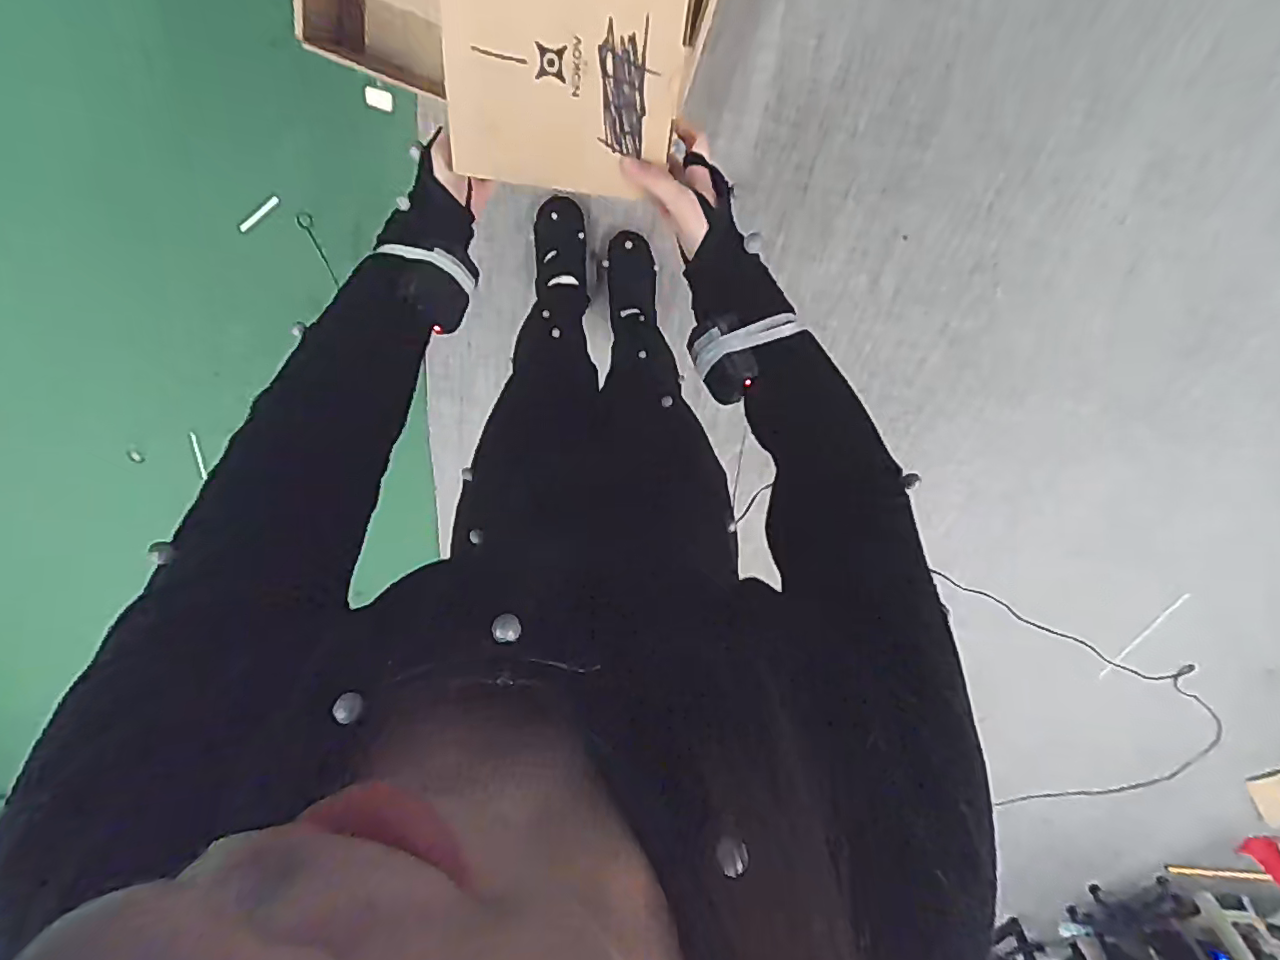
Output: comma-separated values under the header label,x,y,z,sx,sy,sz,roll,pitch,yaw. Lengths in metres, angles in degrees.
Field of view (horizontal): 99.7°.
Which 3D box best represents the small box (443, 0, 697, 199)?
label,x,y,z,sx,sy,sz,roll,pitch,yaw
small box,-0.054,-0.360,0.456,0.179,0.176,0.168,7,130,-5
